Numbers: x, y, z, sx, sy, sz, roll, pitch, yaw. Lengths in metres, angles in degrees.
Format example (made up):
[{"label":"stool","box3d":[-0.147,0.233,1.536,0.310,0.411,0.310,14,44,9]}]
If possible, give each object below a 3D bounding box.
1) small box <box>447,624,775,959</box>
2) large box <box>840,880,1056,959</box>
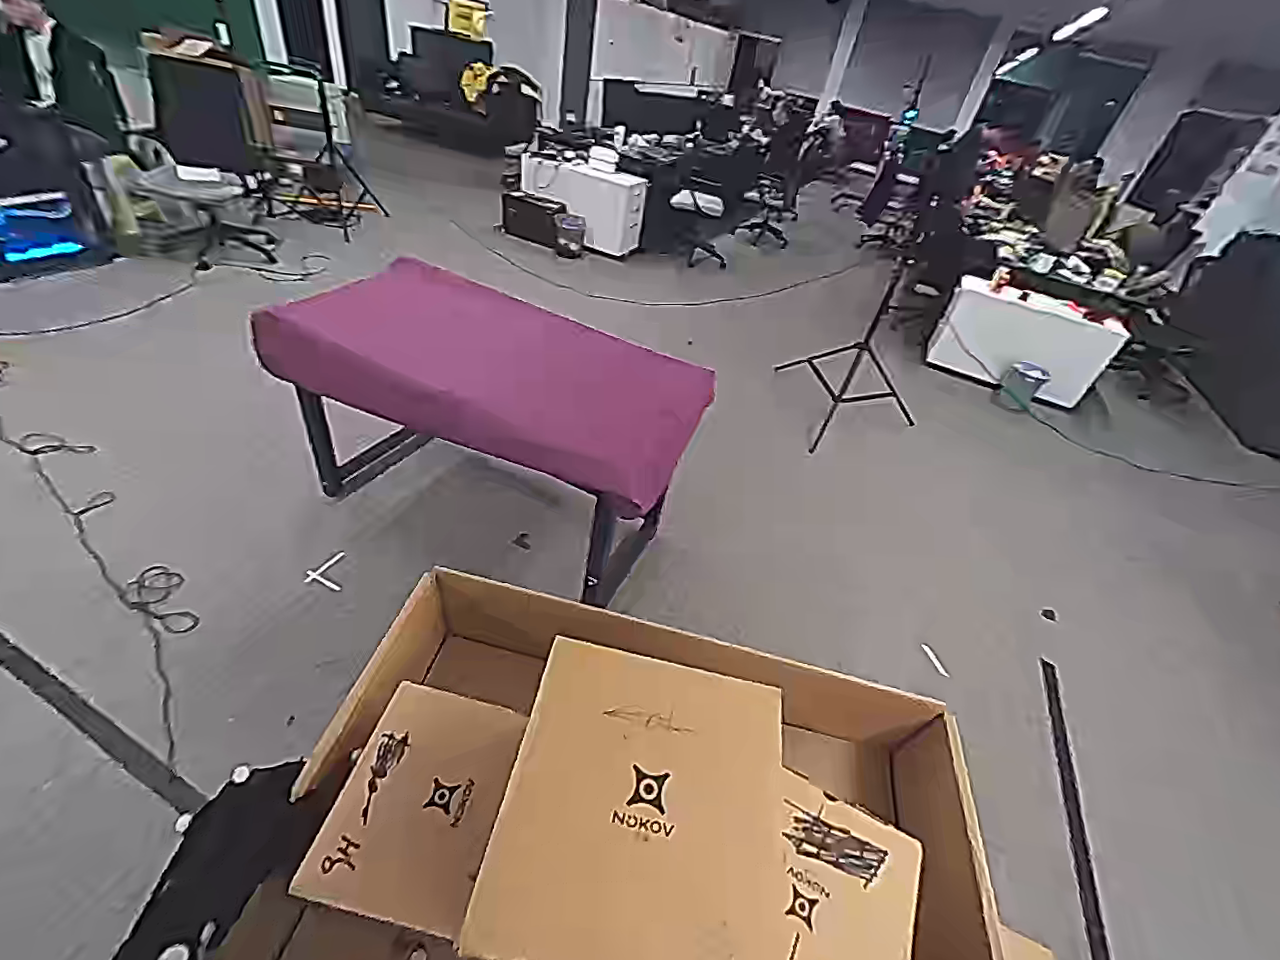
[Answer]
[{"label":"small box","box3d":[-0.012,0.233,0.374,0.168,0.176,0.179,13,44,0]},{"label":"large box","box3d":[0.580,1.097,1.035,0.320,0.320,0.408,21,40,12]}]
